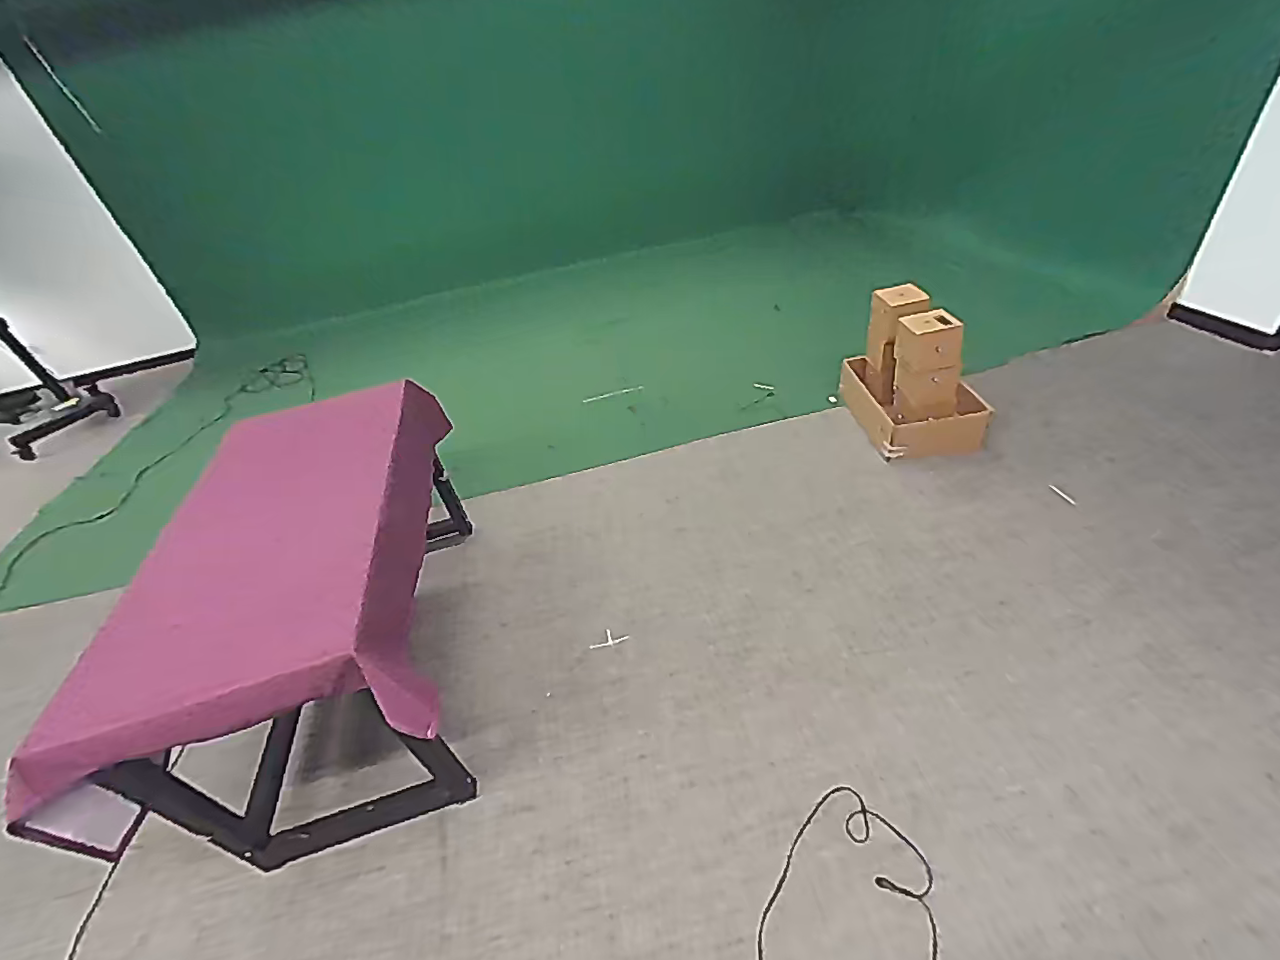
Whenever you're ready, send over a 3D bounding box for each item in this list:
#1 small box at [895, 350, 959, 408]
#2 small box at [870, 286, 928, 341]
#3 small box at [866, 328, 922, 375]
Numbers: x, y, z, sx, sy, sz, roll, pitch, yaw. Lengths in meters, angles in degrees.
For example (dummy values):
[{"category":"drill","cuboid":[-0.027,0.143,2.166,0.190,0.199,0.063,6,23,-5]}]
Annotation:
[{"category":"small box","cuboid":[1.166,-0.412,2.216,0.179,0.176,0.168,-10,37,2]},{"category":"small box","cuboid":[1.118,-0.714,2.344,0.168,0.176,0.179,-11,39,2]},{"category":"small box","cuboid":[1.150,-0.599,2.458,0.179,0.176,0.168,-11,39,4]}]
